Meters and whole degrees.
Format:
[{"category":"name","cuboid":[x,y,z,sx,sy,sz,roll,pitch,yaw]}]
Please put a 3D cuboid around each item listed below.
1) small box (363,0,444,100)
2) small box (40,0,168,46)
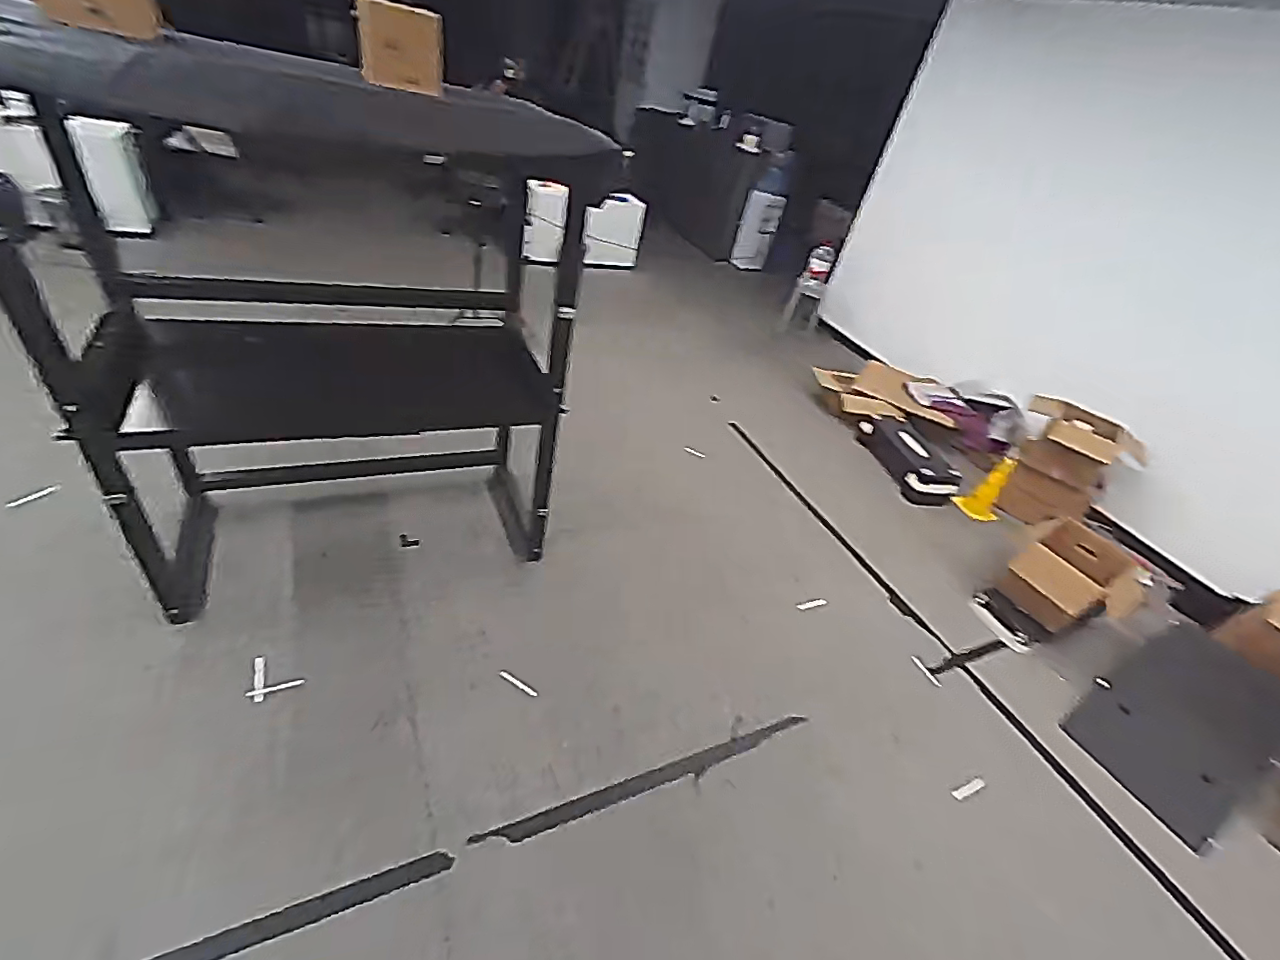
[{"category":"small box","cuboid":[-0.597,-1.085,1.371,0.168,0.176,0.179,-8,43,-27]},{"category":"small box","cuboid":[-1.105,-1.014,1.106,0.179,0.176,0.168,-8,43,-28]}]
